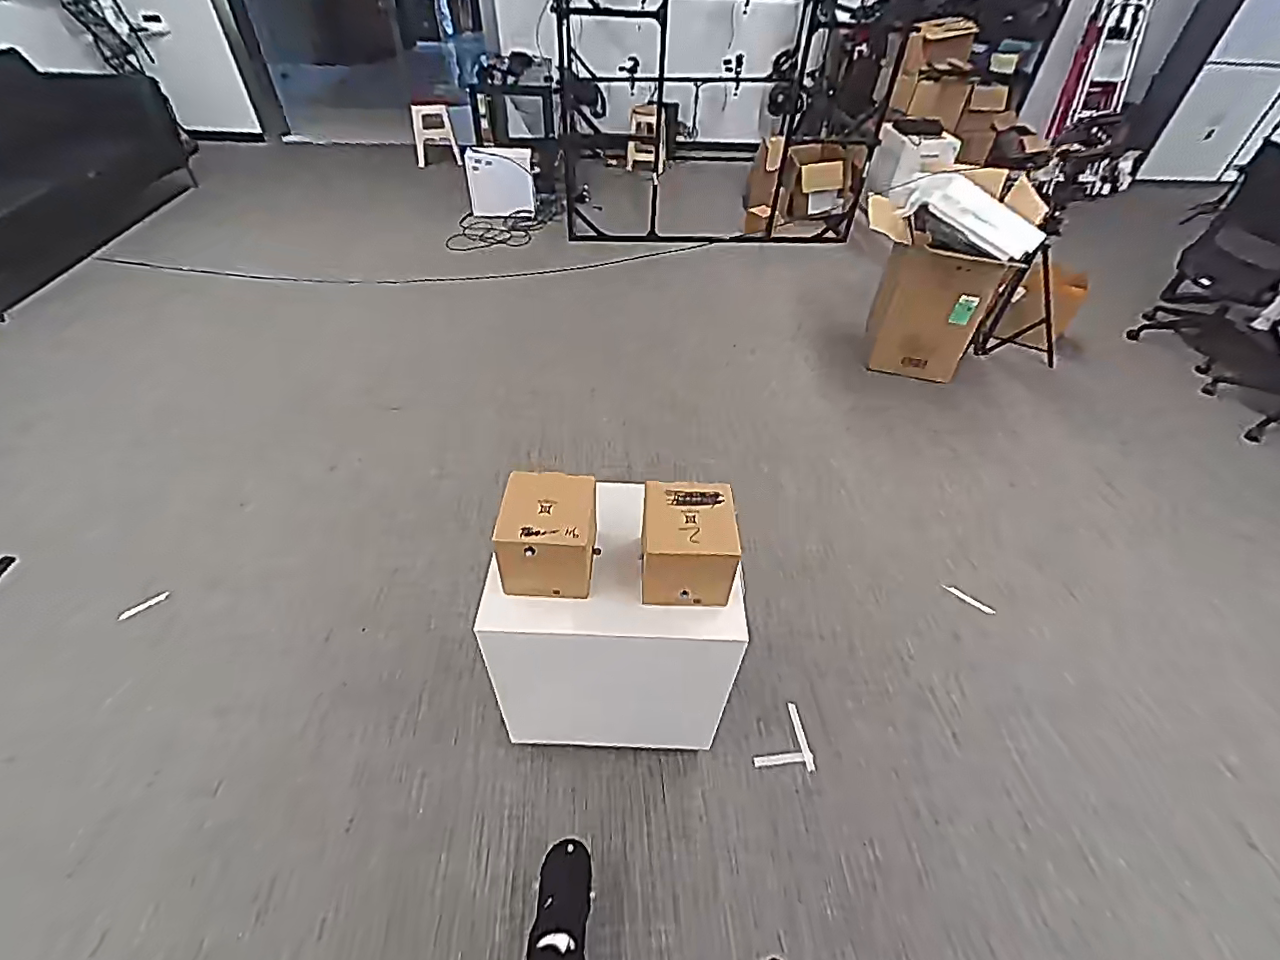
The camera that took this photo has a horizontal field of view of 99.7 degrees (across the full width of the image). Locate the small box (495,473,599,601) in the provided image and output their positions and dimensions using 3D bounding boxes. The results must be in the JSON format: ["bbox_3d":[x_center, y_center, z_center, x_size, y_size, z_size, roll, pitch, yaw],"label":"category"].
[{"bbox_3d":[-0.170,0.110,1.041,0.168,0.176,0.179,3,43,0],"label":"small box"}]
